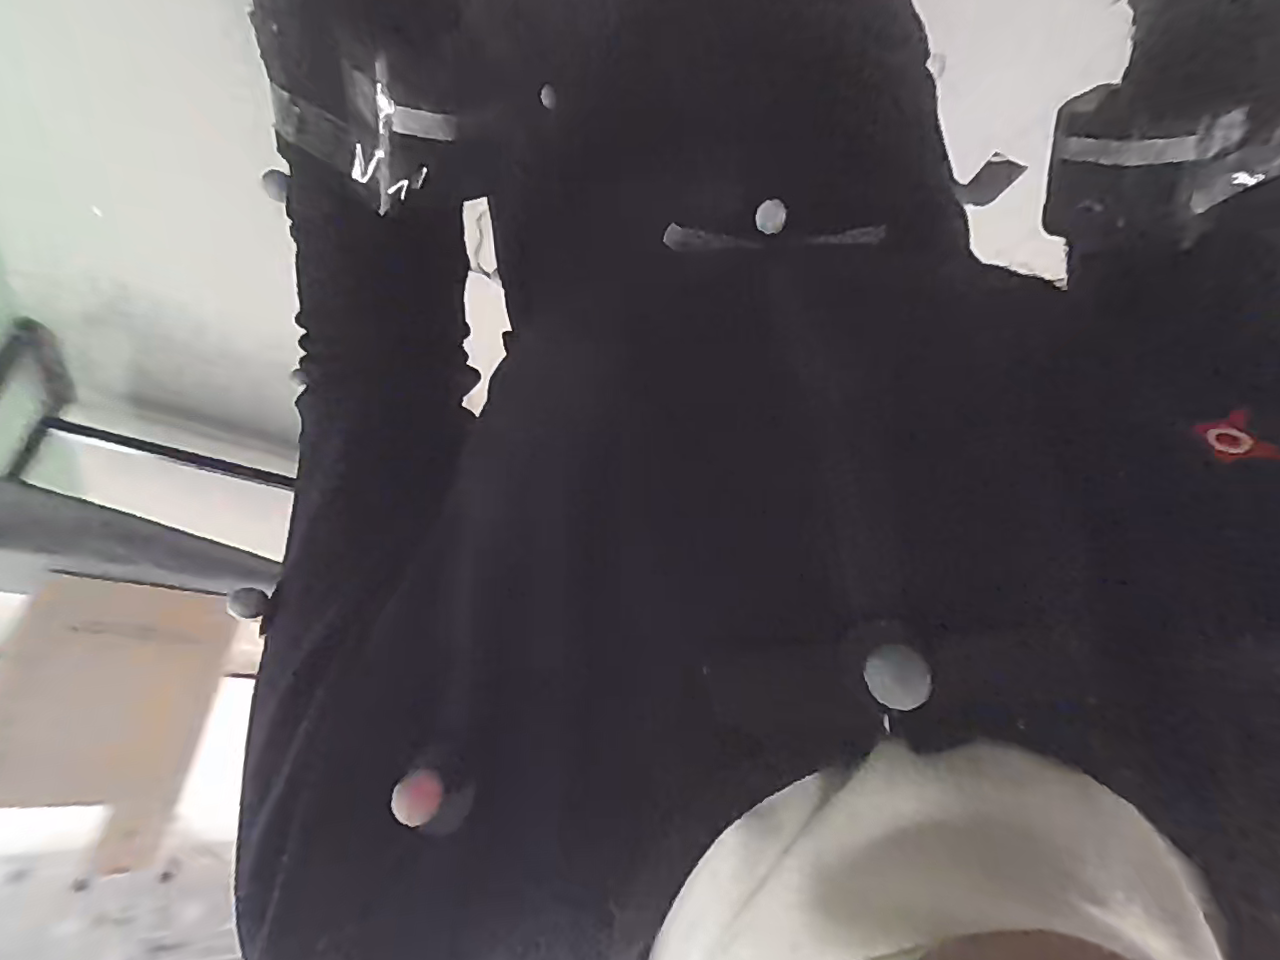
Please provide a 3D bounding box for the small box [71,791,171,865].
[{"bbox_3d":[-1.522,1.021,1.596,0.168,0.176,0.179,19,145,-30],"label":"small box"}]
